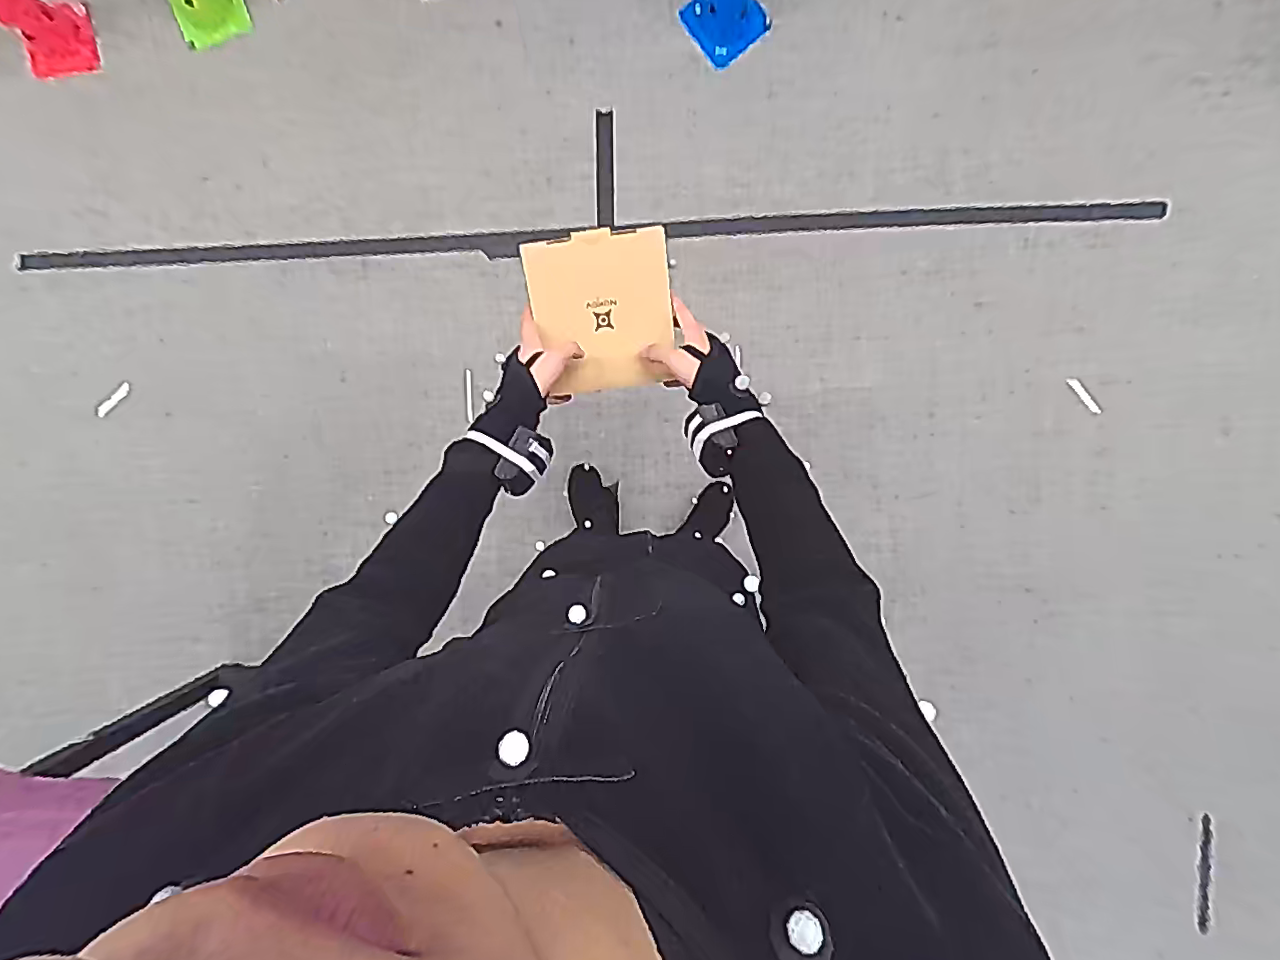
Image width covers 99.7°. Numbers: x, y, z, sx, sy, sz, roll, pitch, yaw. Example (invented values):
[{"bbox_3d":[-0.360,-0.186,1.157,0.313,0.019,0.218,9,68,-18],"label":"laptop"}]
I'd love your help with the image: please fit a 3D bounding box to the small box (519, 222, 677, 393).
[{"bbox_3d":[-0.046,-0.224,0.700,0.168,0.176,0.179,-8,111,1],"label":"small box"}]
